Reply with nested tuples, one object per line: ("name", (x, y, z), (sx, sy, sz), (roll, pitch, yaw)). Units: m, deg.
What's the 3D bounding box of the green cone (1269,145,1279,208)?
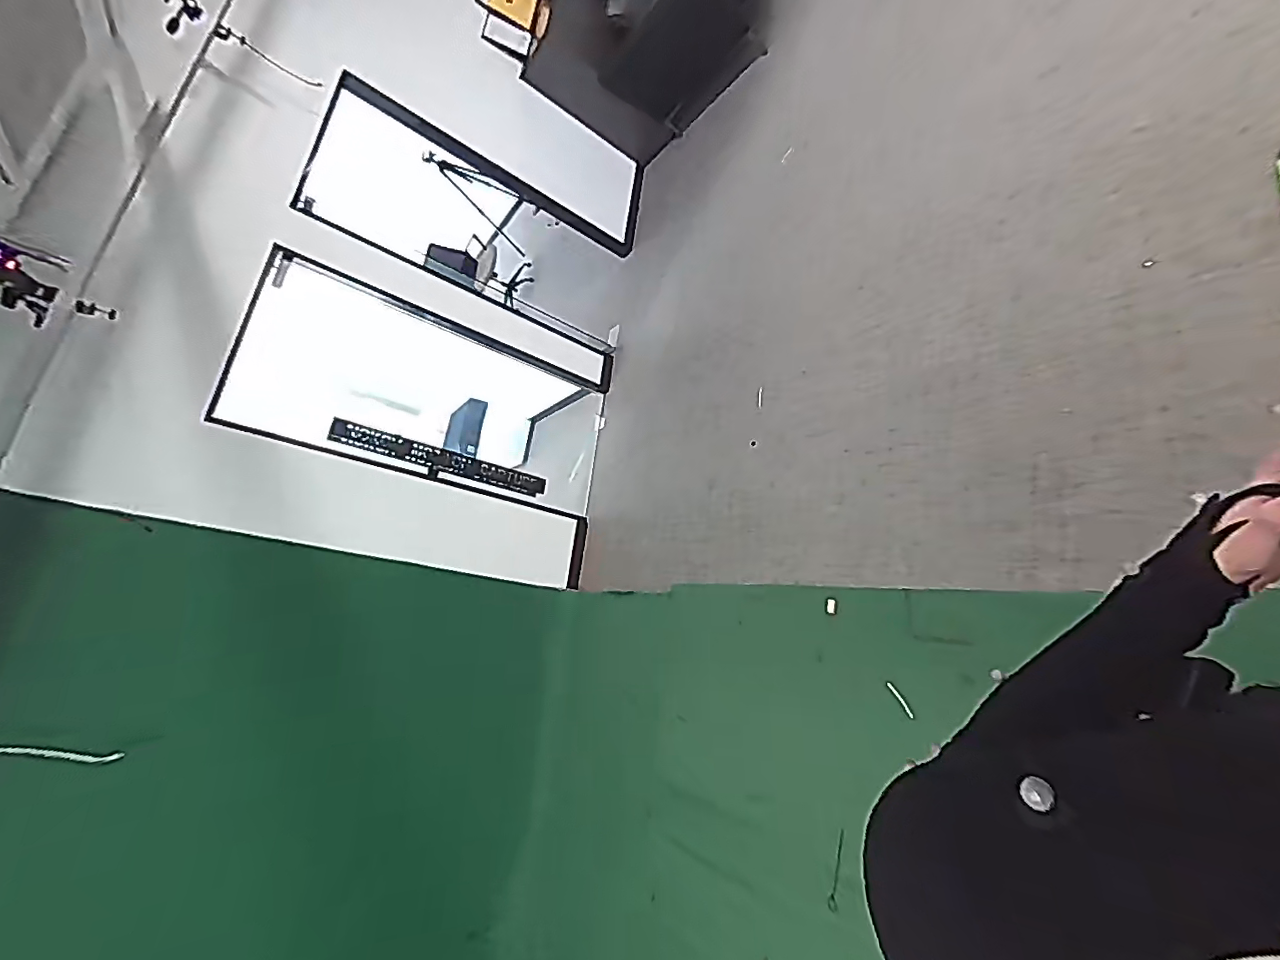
("green cone", (1.414, -0.753, 1.092), (0.202, 0.368, 0.200), (-12, 66, 52))
